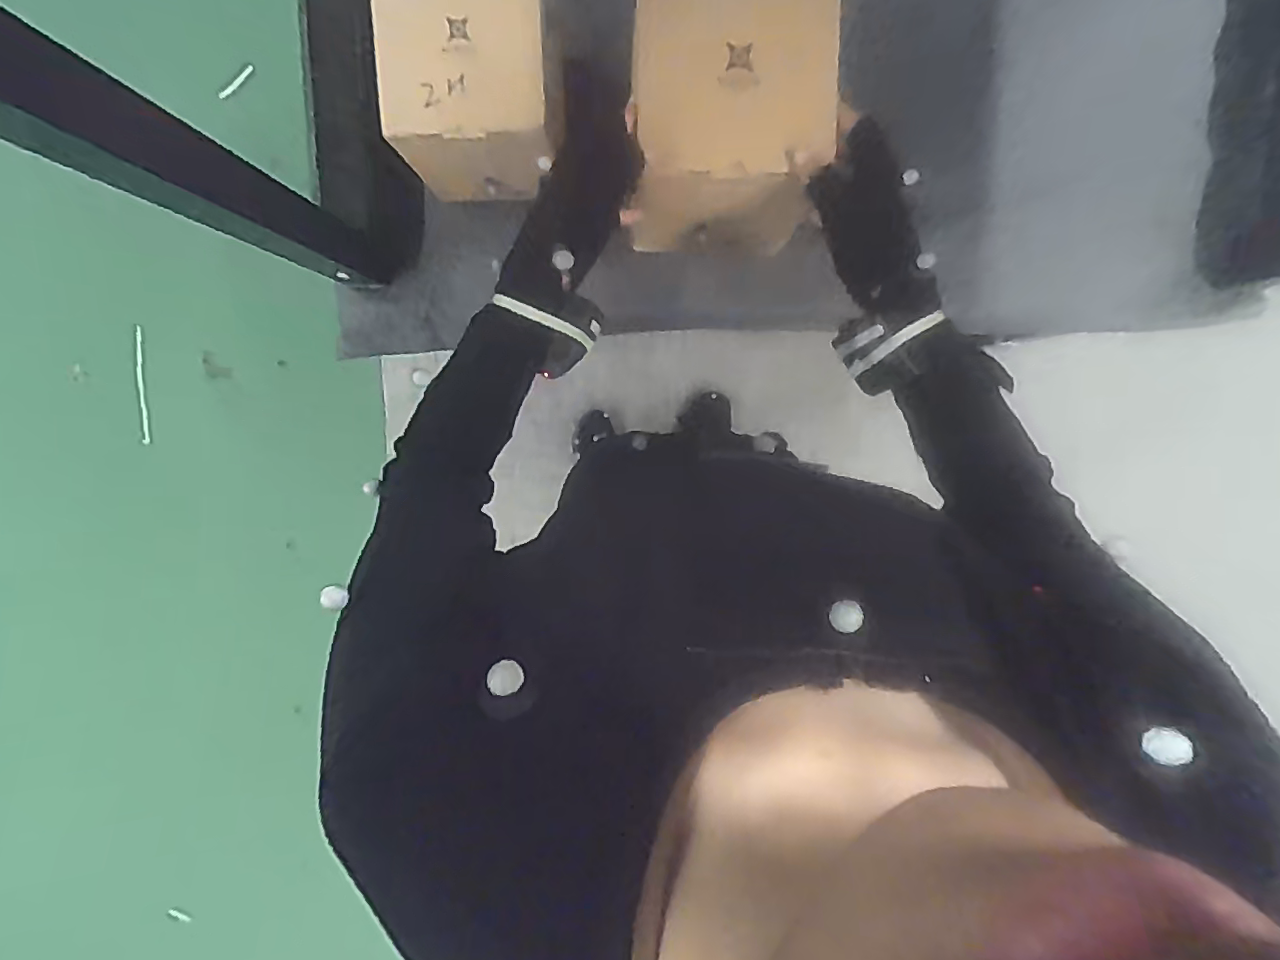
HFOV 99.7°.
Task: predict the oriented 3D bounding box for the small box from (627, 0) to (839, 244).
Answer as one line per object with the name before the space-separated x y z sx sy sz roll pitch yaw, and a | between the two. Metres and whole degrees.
small box | 0.073 -0.346 0.511 0.168 0.176 0.179 0 93 -2

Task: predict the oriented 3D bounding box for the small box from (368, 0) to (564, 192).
small box | -0.179 -0.446 0.600 0.168 0.176 0.179 -1 96 1
